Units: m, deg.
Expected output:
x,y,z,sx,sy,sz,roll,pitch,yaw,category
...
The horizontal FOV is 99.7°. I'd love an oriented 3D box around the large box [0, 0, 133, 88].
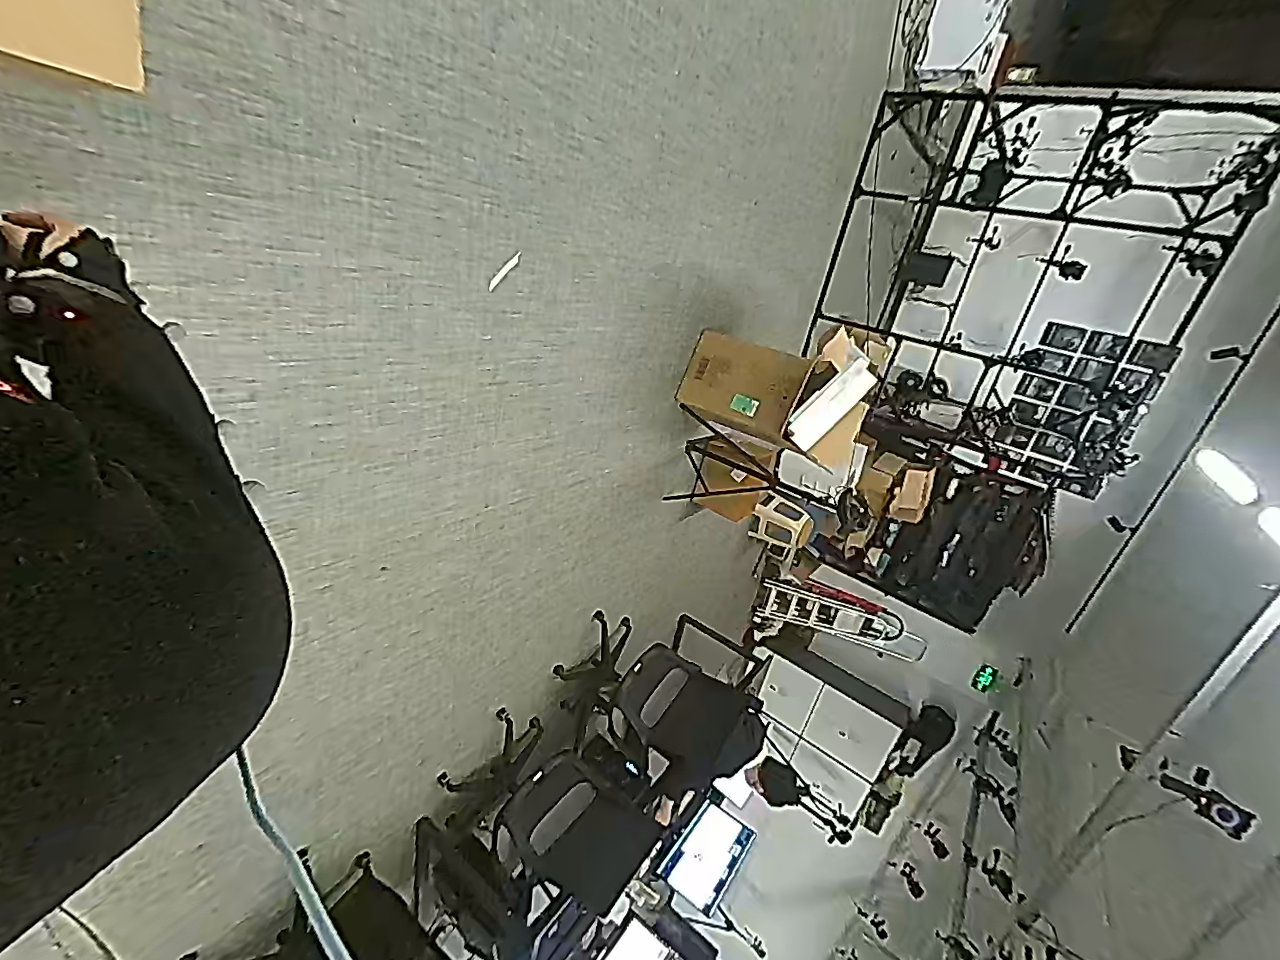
x,y,z,sx,sy,sz,roll,pitch,yaw,category
-0.899,-0.690,0.600,0.408,0.320,0.320,-19,128,-54,large box
